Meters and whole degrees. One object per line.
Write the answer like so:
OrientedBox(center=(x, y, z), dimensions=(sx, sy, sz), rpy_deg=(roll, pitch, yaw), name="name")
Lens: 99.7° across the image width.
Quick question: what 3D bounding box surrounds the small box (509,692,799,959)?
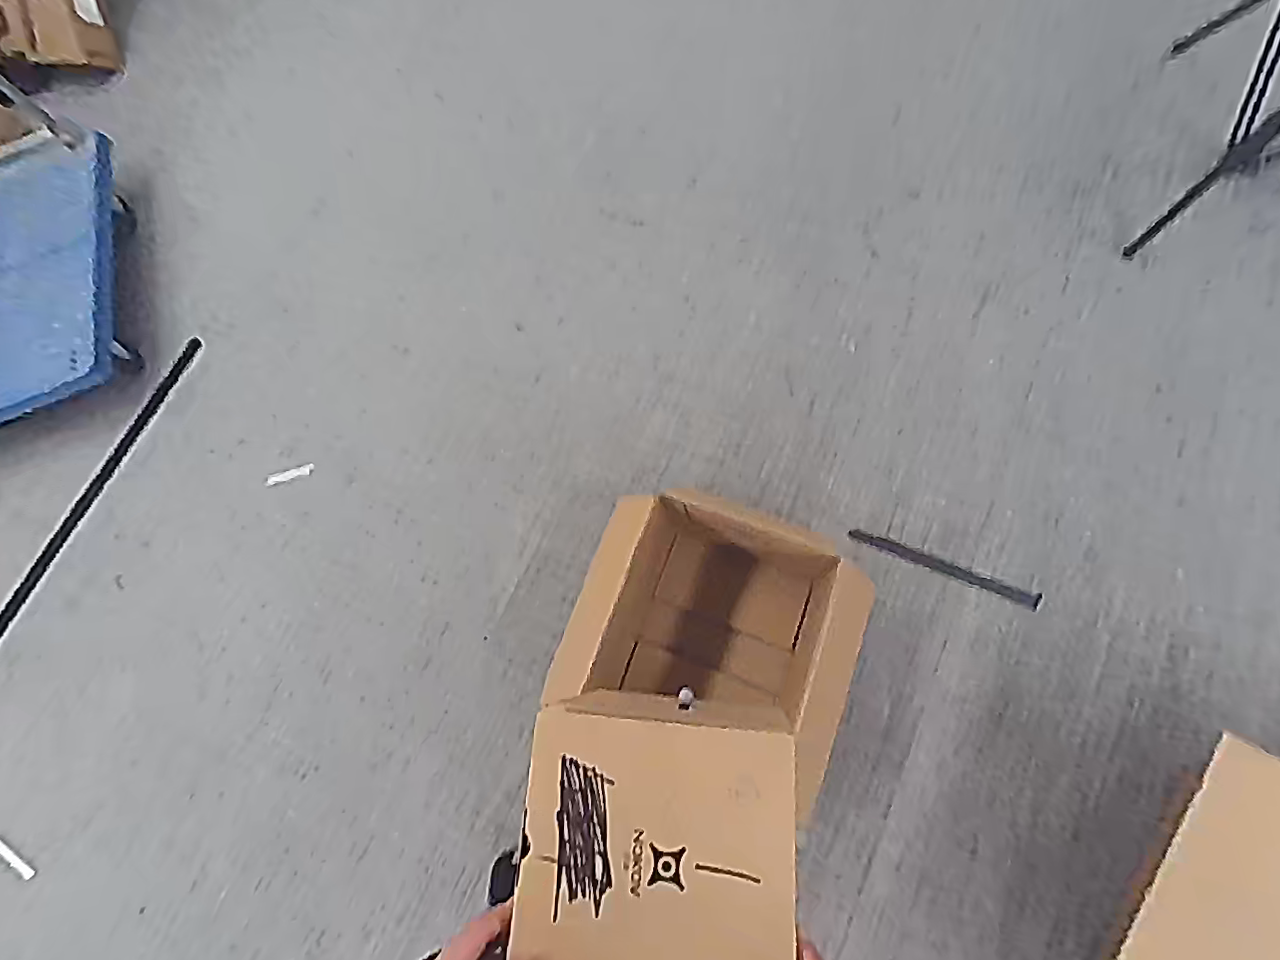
OrientedBox(center=(0.024, 0.259, 0.413), dimensions=(0.179, 0.176, 0.168), rpy_deg=(1, 72, 10), name="small box")
